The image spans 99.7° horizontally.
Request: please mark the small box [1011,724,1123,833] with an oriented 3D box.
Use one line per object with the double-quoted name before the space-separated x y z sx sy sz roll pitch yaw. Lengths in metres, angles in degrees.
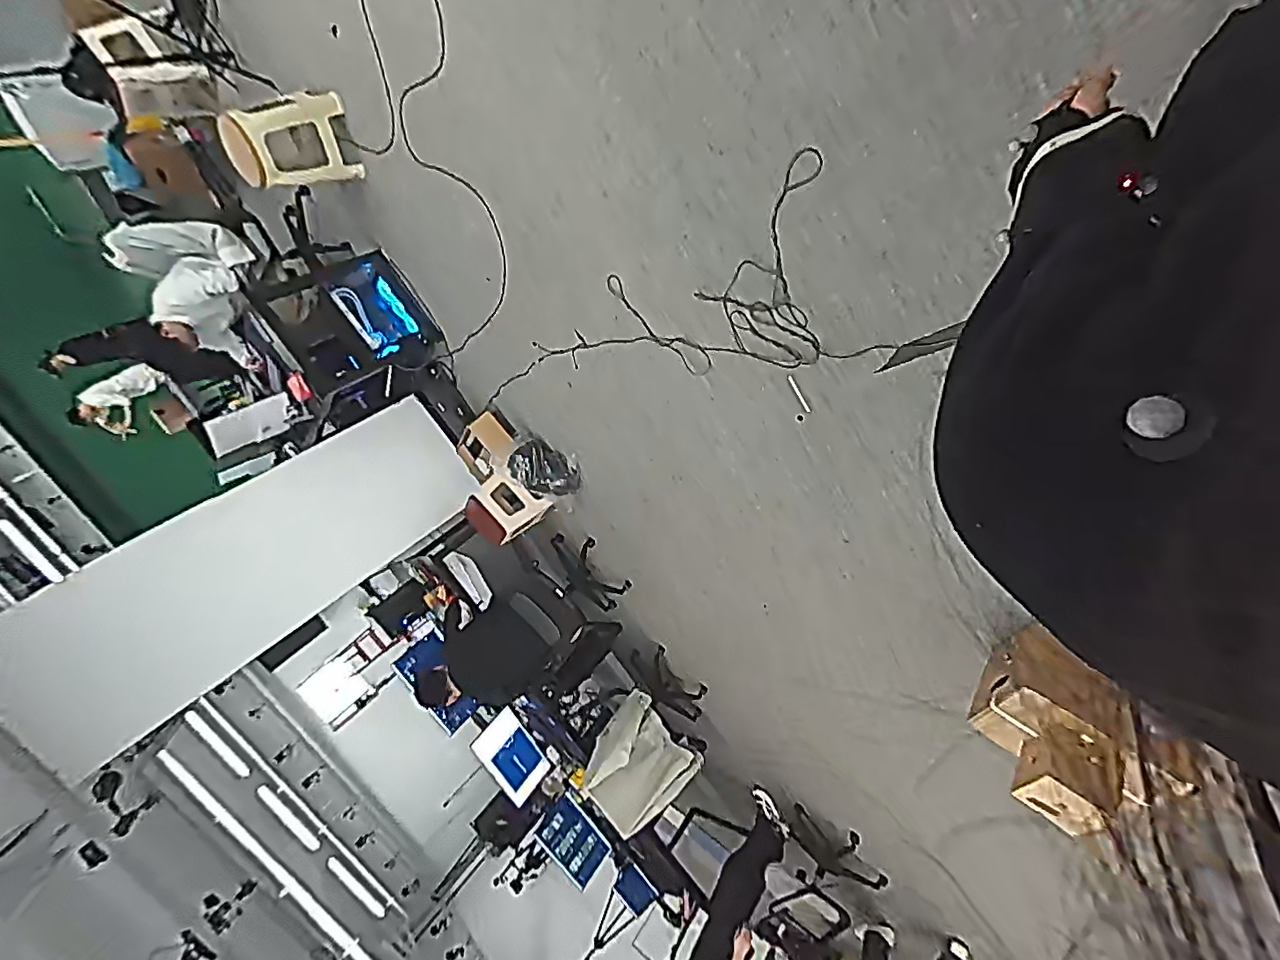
"small box" 1.146 0.797 1.449 0.168 0.176 0.179 32 142 23
